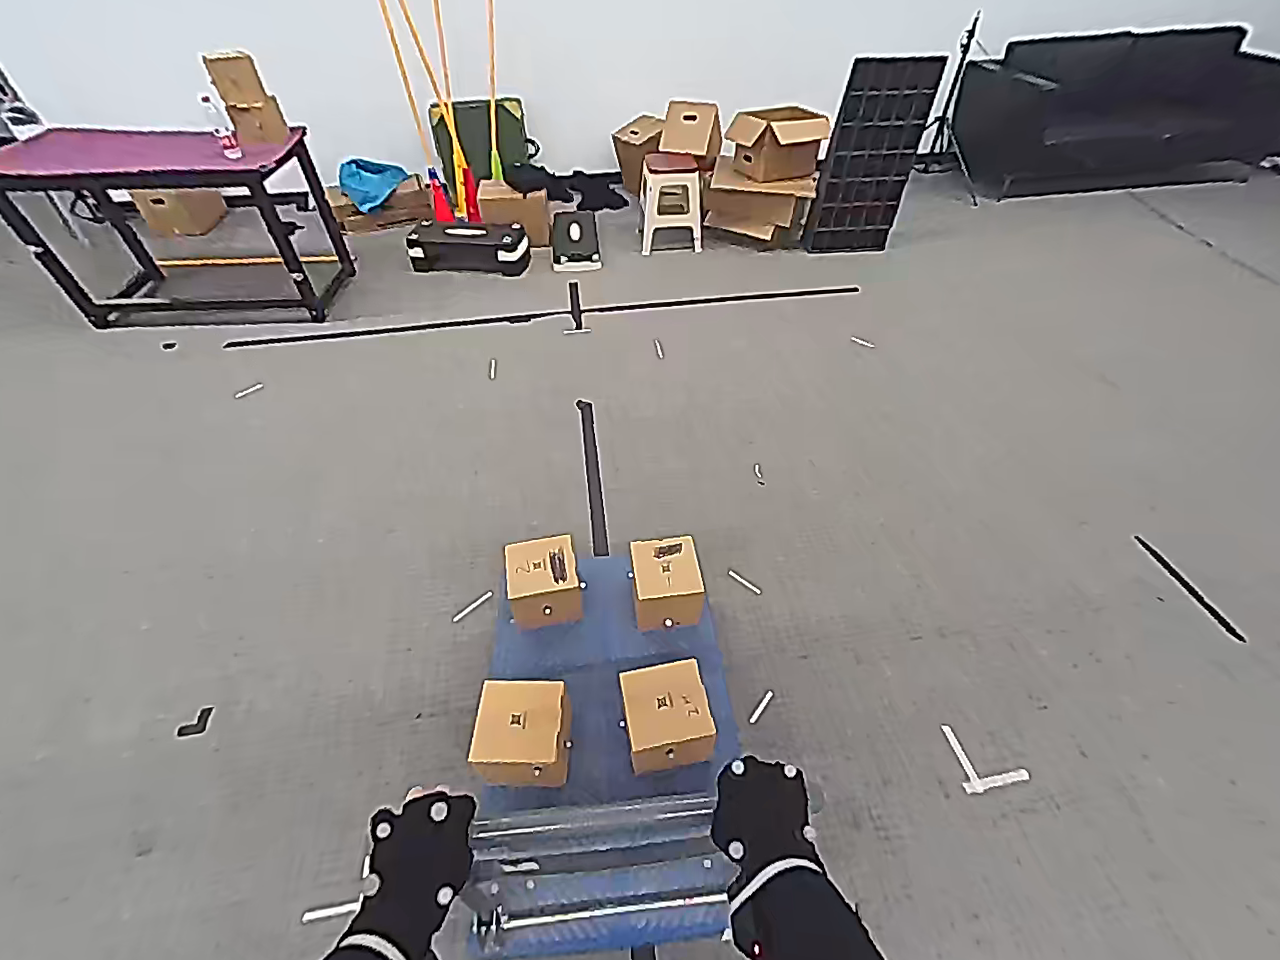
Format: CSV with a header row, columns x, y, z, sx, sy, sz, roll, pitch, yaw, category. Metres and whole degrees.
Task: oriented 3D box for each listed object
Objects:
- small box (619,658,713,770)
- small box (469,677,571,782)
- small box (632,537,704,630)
x,y,z,sx,sy,sz,roll,pitch,yaw,category
0.054,0.522,1.199,0.179,0.176,0.168,-8,47,-7,small box
-0.252,0.548,1.182,0.179,0.176,0.168,1,46,0,small box
0.067,0.274,1.435,0.168,0.176,0.179,-6,48,-5,small box
